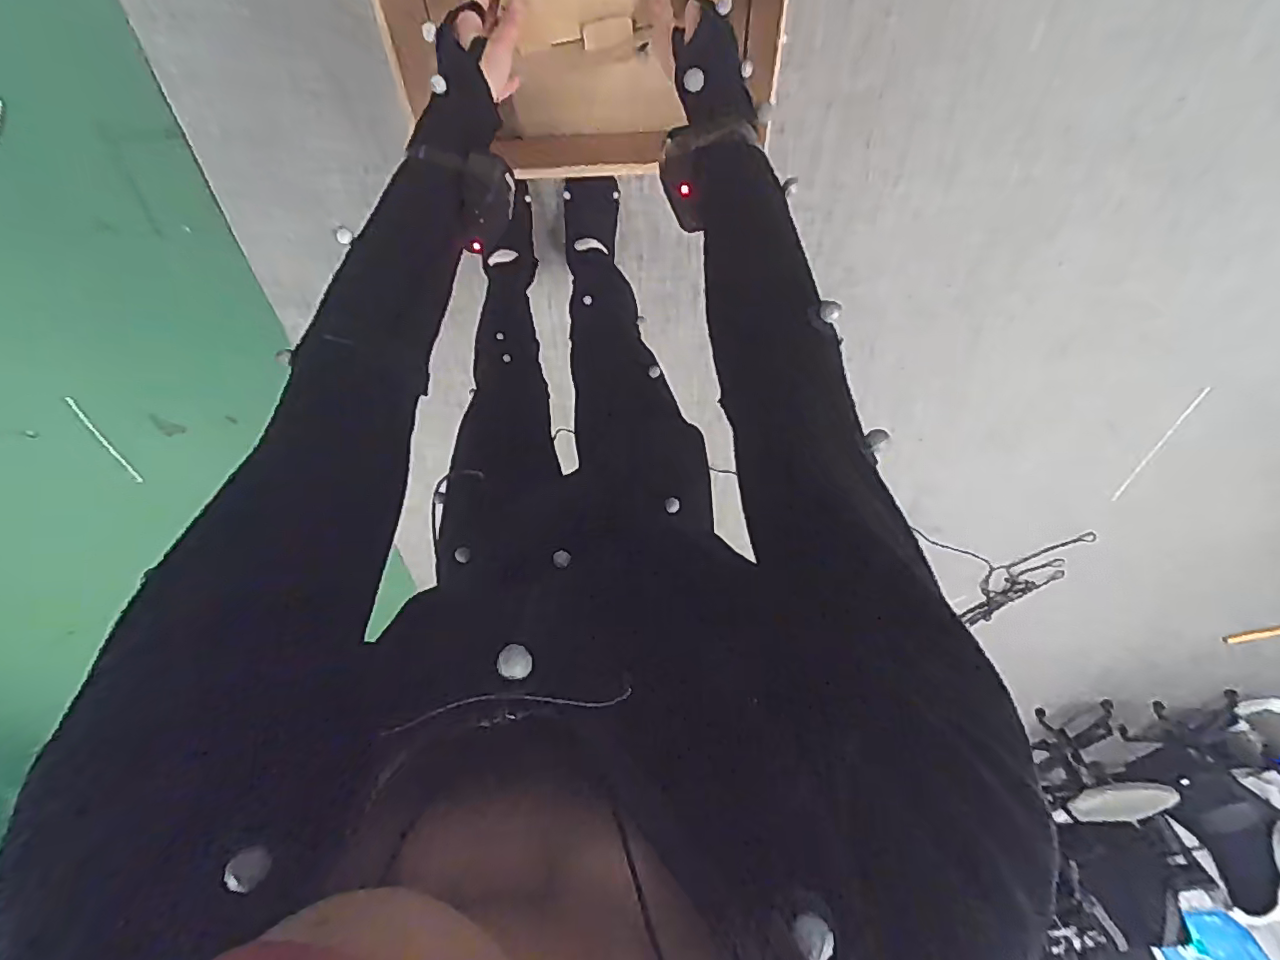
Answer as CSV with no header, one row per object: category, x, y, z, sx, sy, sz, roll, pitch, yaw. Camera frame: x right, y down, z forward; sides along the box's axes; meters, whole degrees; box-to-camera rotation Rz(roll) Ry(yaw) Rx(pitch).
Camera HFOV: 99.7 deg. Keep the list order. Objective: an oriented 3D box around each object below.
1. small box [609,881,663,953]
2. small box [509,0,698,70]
small box,-0.019,1.428,1.772,0.168,0.176,0.179,0,136,-3
small box,-0.045,-0.507,0.505,0.168,0.176,0.179,-10,120,0
